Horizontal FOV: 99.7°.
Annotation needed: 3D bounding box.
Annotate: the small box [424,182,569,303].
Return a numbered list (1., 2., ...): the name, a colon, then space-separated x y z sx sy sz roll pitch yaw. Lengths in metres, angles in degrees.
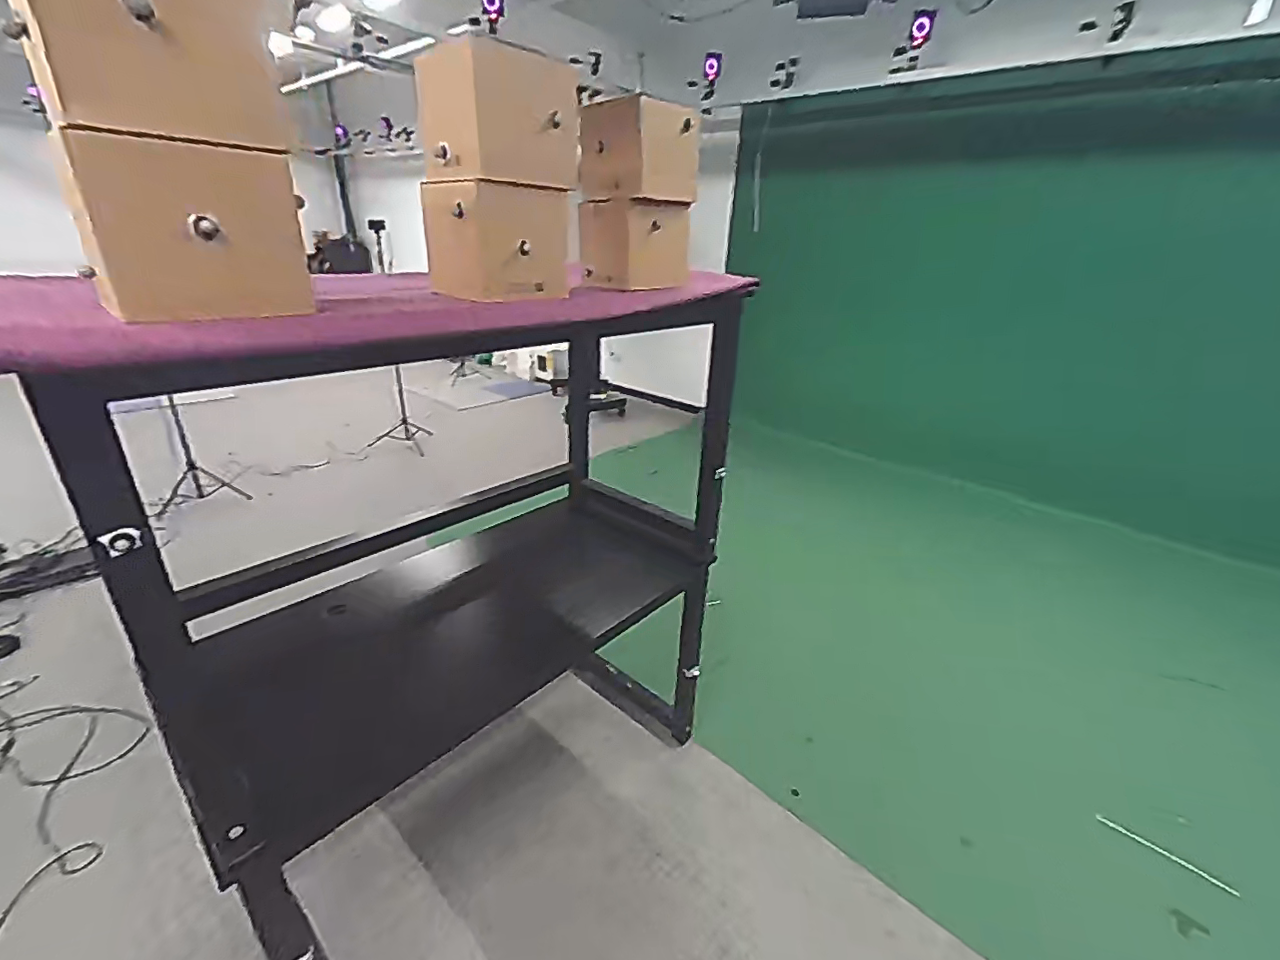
1. small box: -0.230 -0.386 0.889 0.179 0.176 0.168 24 31 39

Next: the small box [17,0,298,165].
1. small box: -0.473 -0.419 0.532 0.168 0.176 0.179 25 33 38

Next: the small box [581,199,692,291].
1. small box: -0.006 -0.496 1.153 0.179 0.176 0.168 -19 30 -38

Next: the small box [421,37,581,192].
1. small box: -0.207 -0.533 0.822 0.168 0.176 0.179 23 32 39

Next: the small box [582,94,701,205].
1. small box: 0.005 -0.640 1.076 0.168 0.176 0.179 22 31 39
